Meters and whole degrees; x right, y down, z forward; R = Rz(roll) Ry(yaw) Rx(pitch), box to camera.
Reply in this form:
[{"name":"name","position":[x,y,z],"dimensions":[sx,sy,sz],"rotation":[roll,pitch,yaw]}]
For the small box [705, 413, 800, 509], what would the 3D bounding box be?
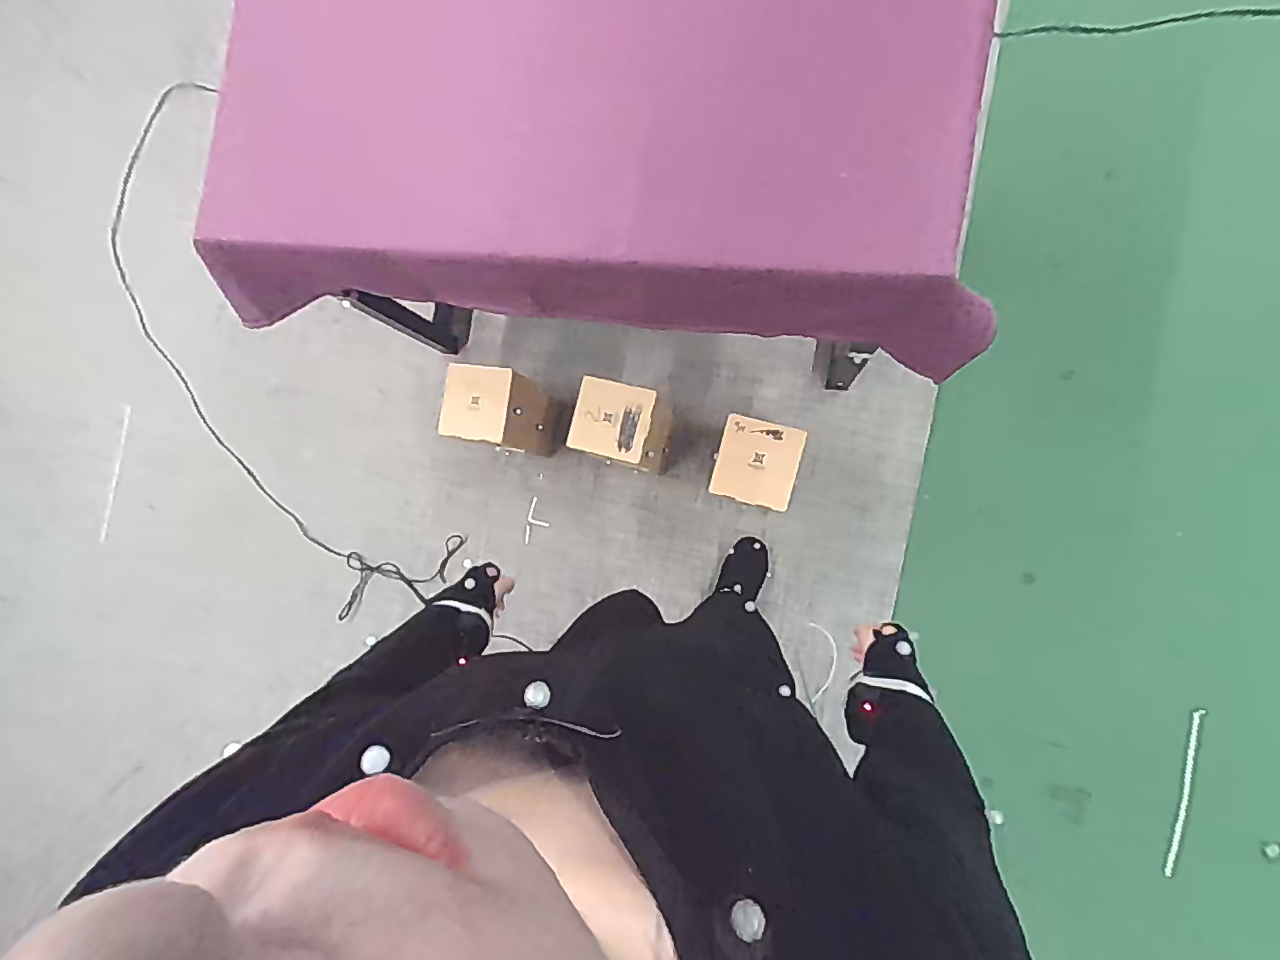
[{"name":"small box","position":[0.244,-0.040,1.194],"dimensions":[0.168,0.176,0.179],"rotation":[11,92,8]}]
